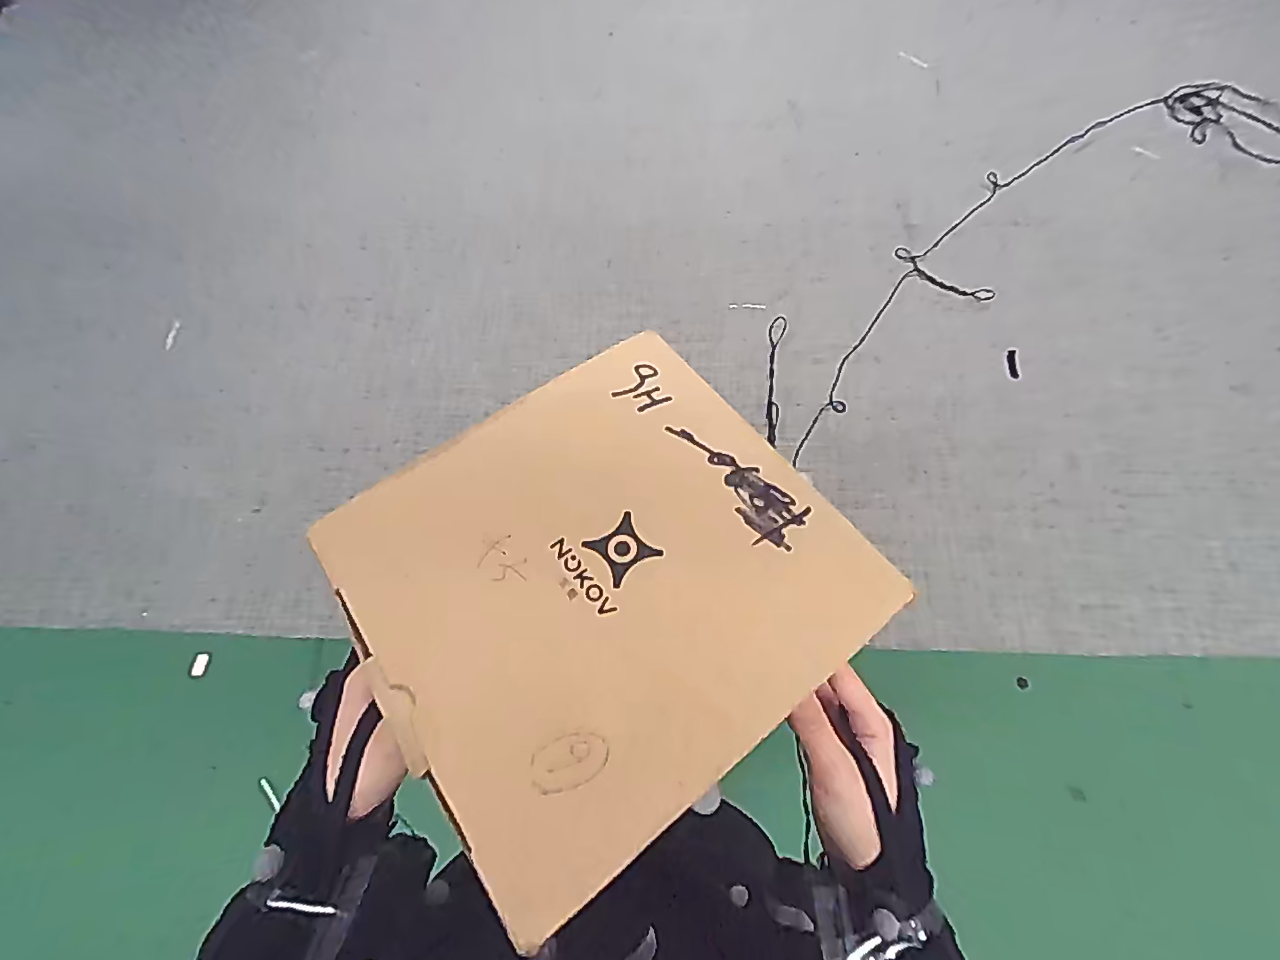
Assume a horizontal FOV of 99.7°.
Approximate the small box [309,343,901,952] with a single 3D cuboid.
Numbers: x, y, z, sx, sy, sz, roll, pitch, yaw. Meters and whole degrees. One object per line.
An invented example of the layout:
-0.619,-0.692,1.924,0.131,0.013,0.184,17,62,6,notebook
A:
-0.015,0.073,0.277,0.179,0.176,0.168,-34,67,-16,small box
